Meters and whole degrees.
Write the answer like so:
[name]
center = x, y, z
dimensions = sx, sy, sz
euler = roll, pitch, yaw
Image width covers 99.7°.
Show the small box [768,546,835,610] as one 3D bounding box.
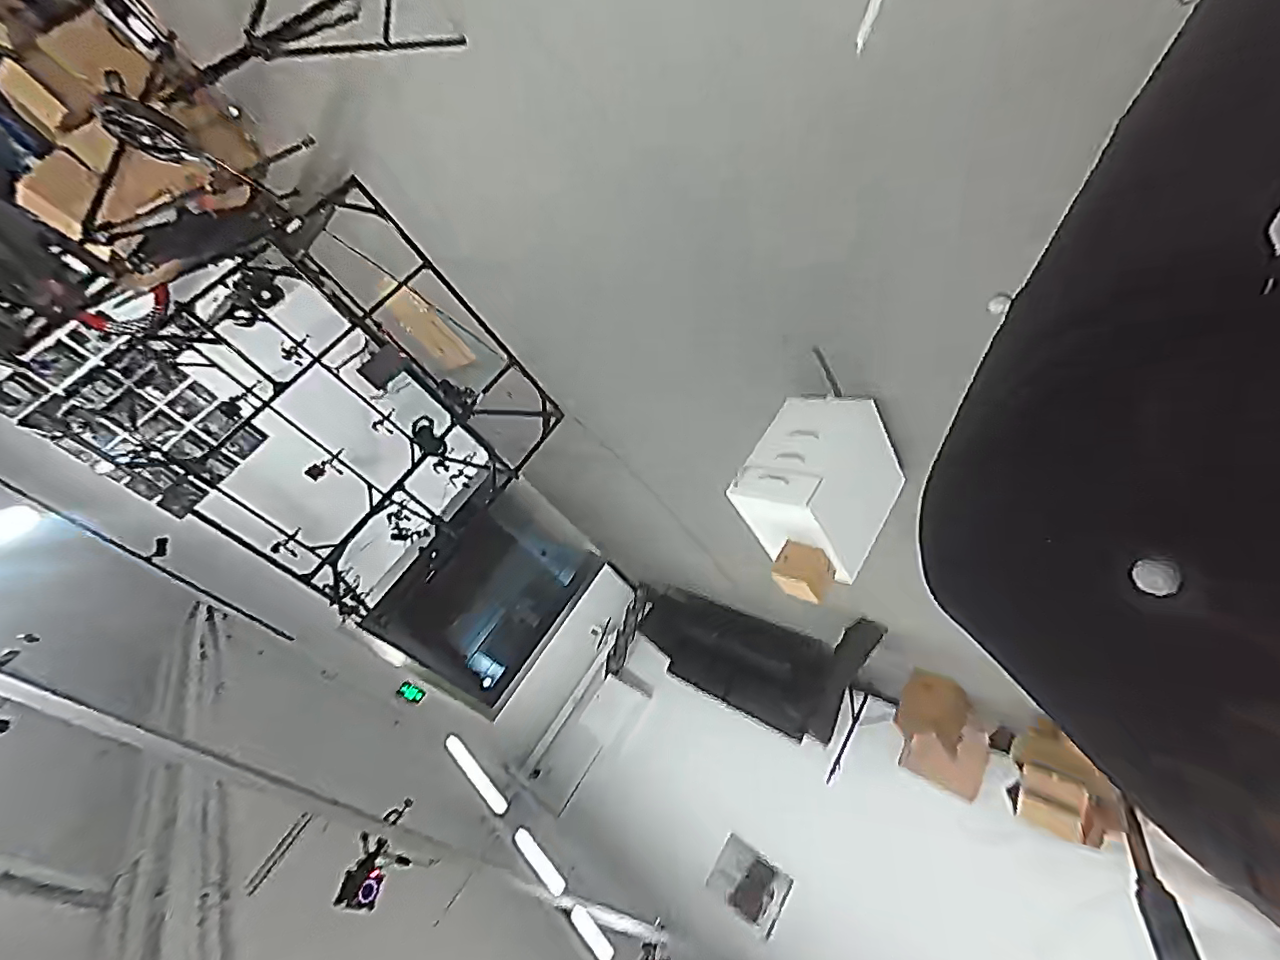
[small box]
center = 0.656, 0.390, 2.188
dimensions = 0.179, 0.176, 0.168
euler = 13, 150, 49
